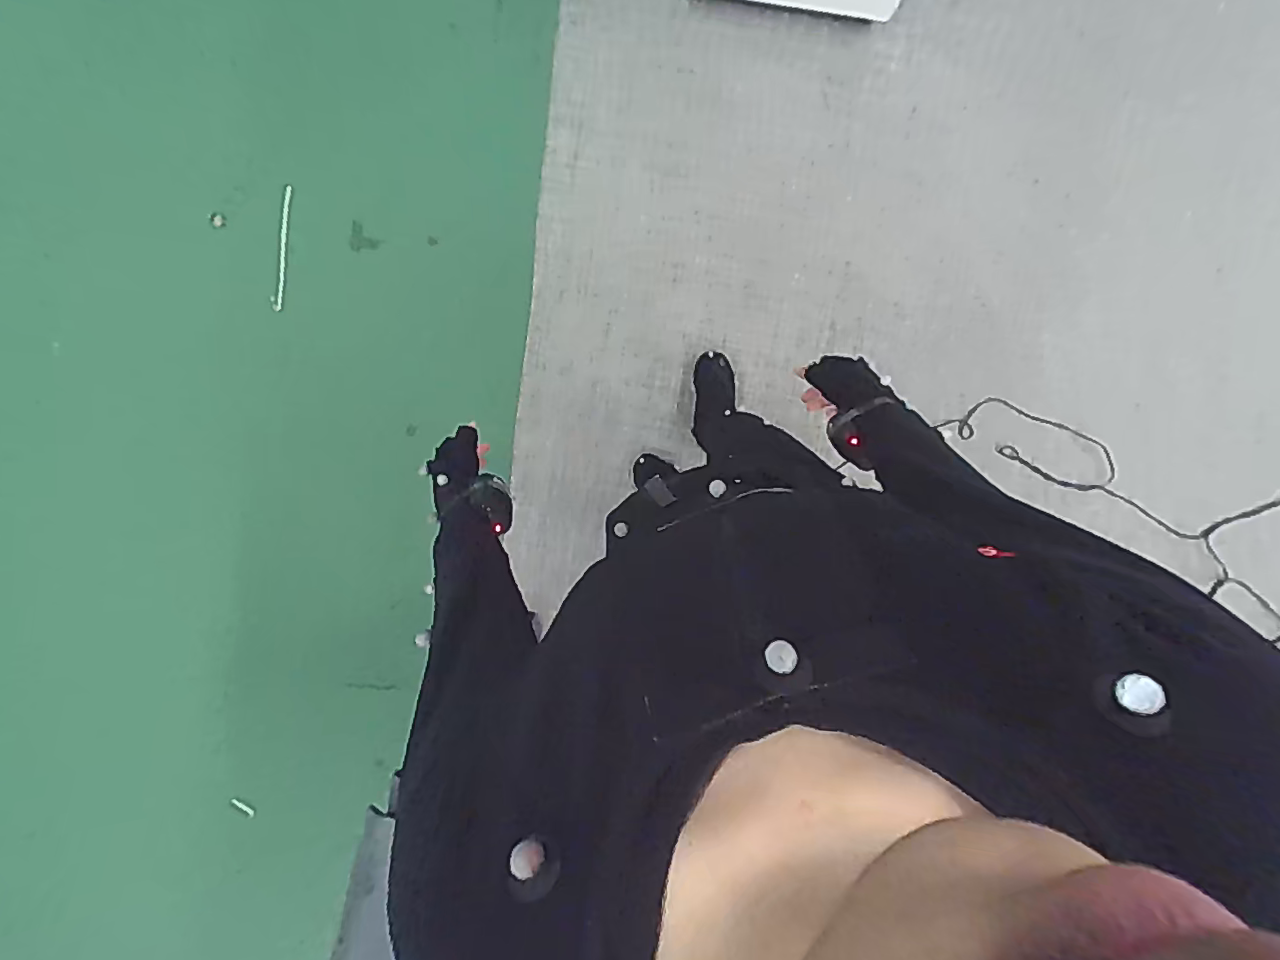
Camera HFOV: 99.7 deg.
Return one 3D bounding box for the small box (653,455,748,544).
[{"bbox_3d":[0.154,0.043,1.421,0.168,0.176,0.179,-29,98,-7],"label":"small box"}]
